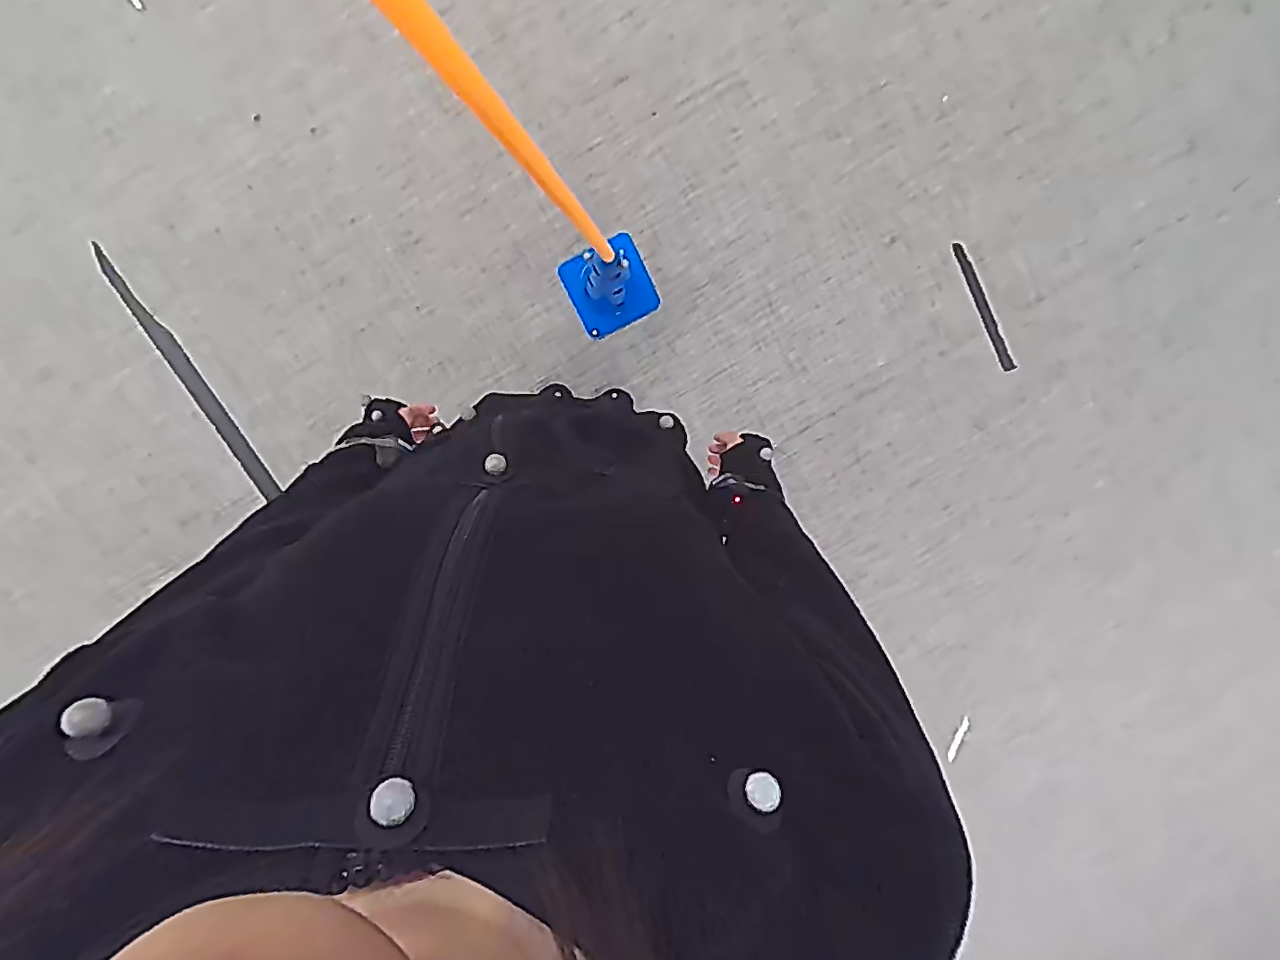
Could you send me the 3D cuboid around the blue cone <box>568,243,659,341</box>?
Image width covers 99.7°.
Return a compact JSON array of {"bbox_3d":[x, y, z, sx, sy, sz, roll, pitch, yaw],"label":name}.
[{"bbox_3d":[-0.057,-0.433,1.167,0.193,0.380,0.192,-25,102,2],"label":"blue cone"}]
